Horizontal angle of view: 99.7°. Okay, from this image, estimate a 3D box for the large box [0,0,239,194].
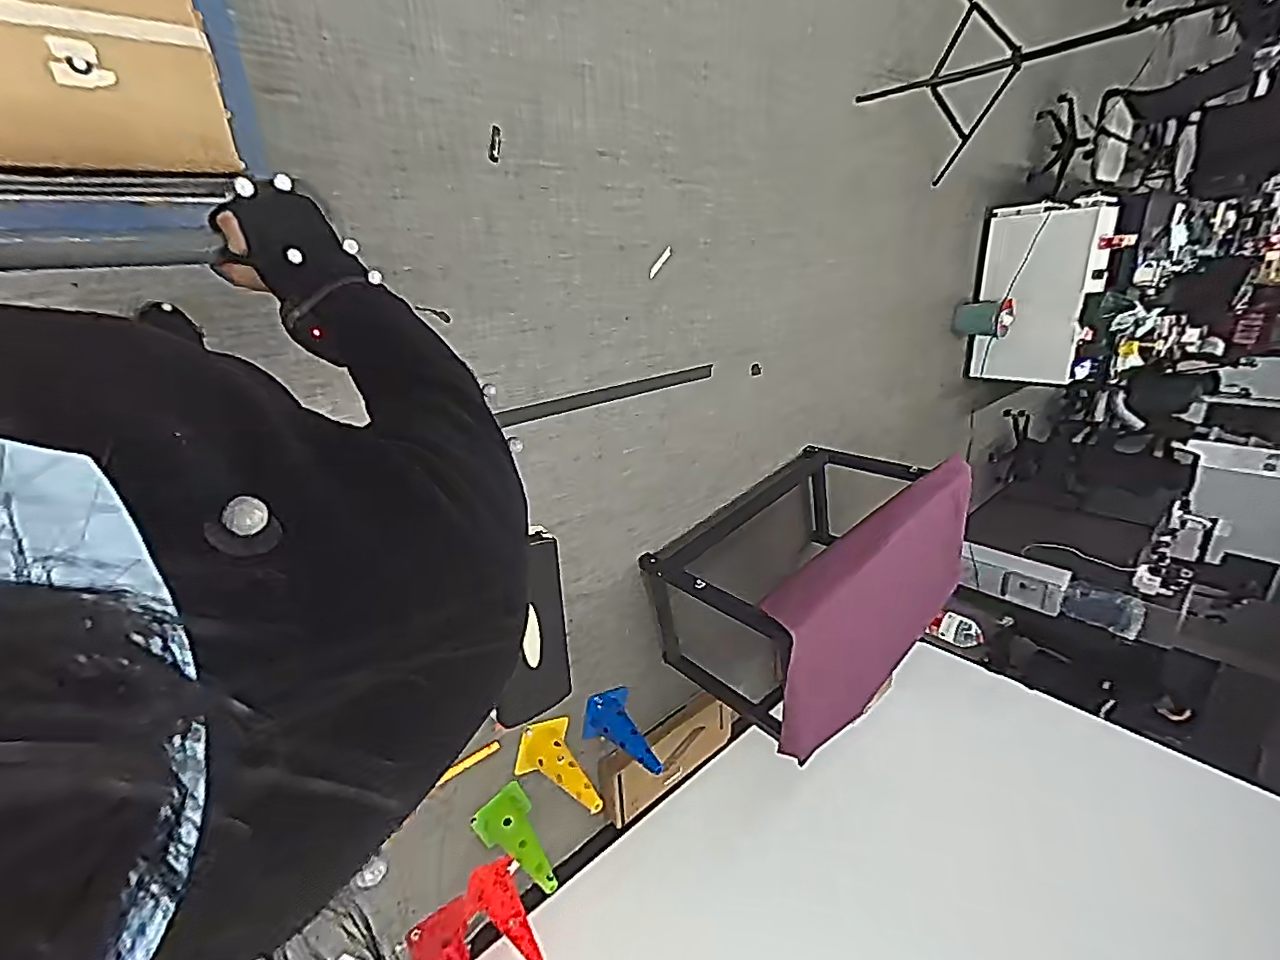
[{"bbox_3d":[-0.823,-0.552,0.696,0.408,0.320,0.320,-21,122,-36],"label":"large box"}]
